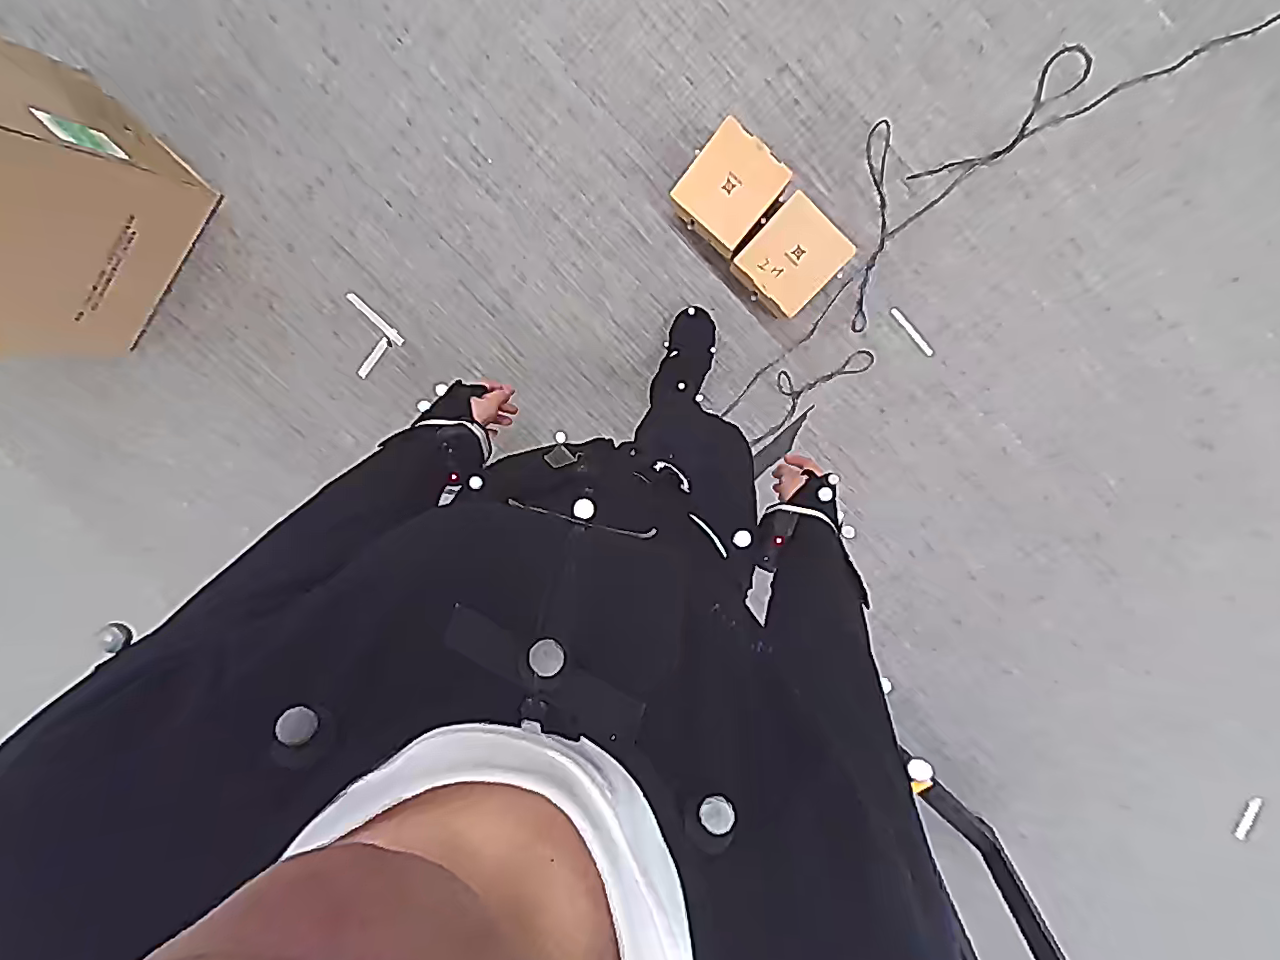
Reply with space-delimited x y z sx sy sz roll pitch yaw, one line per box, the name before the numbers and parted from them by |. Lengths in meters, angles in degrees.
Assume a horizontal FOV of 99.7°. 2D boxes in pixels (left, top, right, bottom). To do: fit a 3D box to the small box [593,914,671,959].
small box | -0.026 1.405 1.559 0.168 0.176 0.179 -43 98 14
